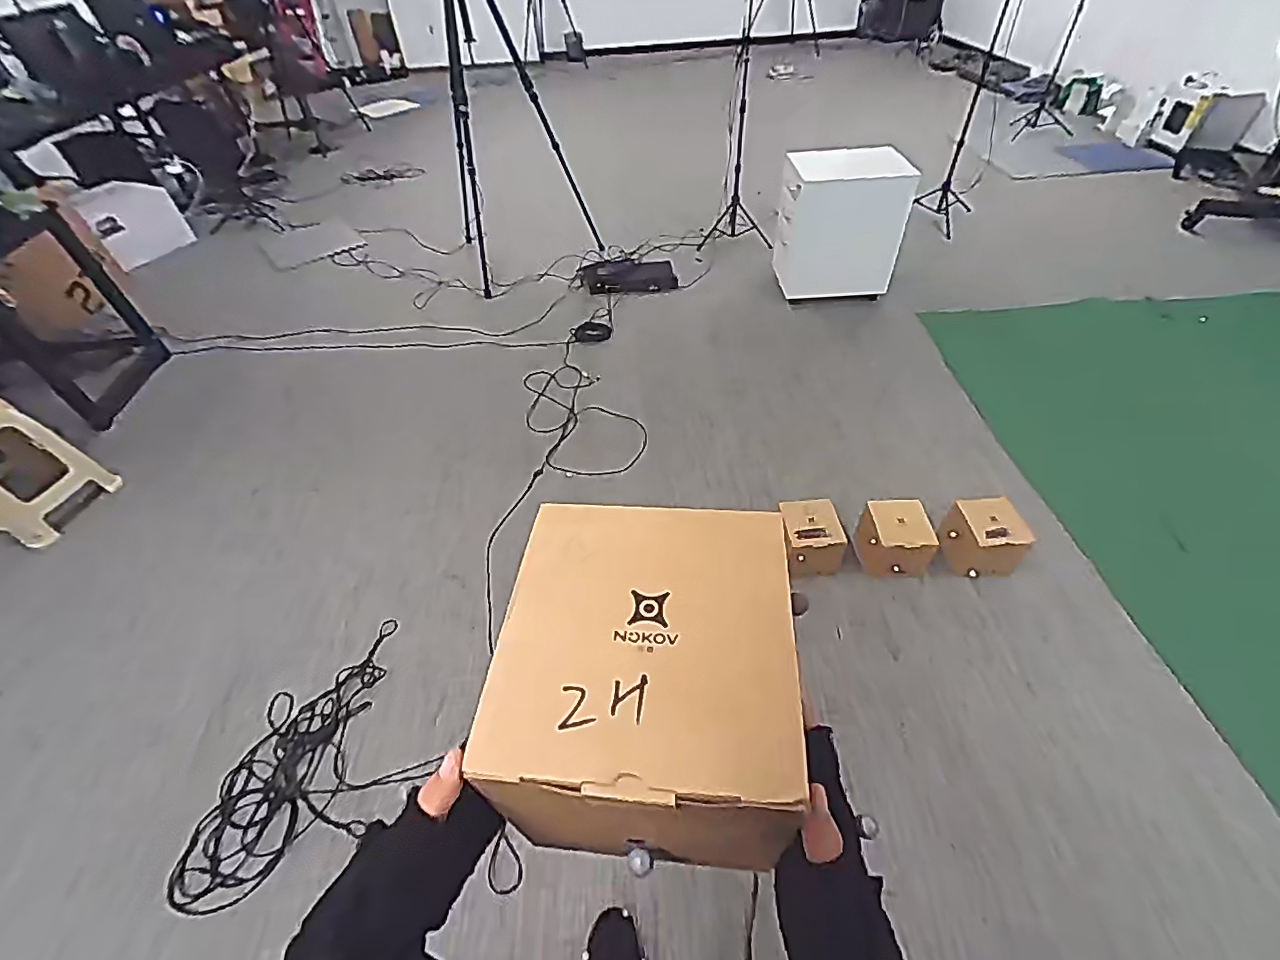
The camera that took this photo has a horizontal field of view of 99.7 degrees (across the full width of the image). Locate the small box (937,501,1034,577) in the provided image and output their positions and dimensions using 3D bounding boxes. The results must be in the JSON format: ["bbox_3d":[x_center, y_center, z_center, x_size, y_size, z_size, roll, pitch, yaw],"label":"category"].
[{"bbox_3d":[1.057,0.187,1.671,0.168,0.176,0.179,-2,46,1],"label":"small box"}]

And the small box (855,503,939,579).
[{"bbox_3d":[0.788,0.190,1.683,0.168,0.176,0.179,-2,47,1],"label":"small box"}]
